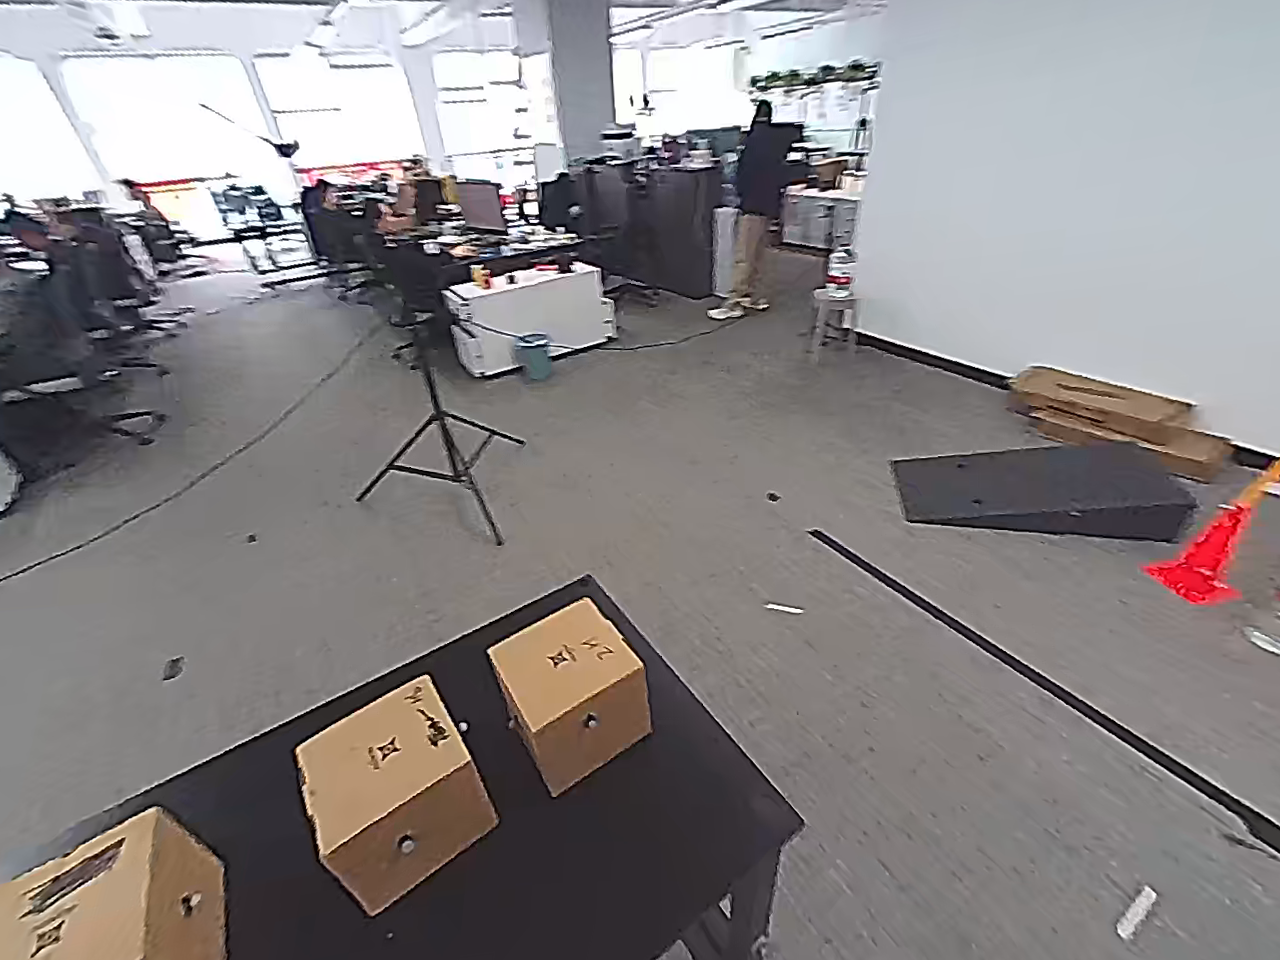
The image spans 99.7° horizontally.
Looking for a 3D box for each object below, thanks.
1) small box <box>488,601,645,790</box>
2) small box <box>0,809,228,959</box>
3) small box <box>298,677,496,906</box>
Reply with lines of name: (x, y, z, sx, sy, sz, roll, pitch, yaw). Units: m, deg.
small box: (-0.107, 0.329, 0.830, 0.179, 0.176, 0.168, -23, 38, -25)
small box: (-0.588, 0.523, 0.596, 0.168, 0.176, 0.179, -23, 39, -26)
small box: (-0.320, 0.415, 0.728, 0.179, 0.176, 0.168, -27, 40, -28)
